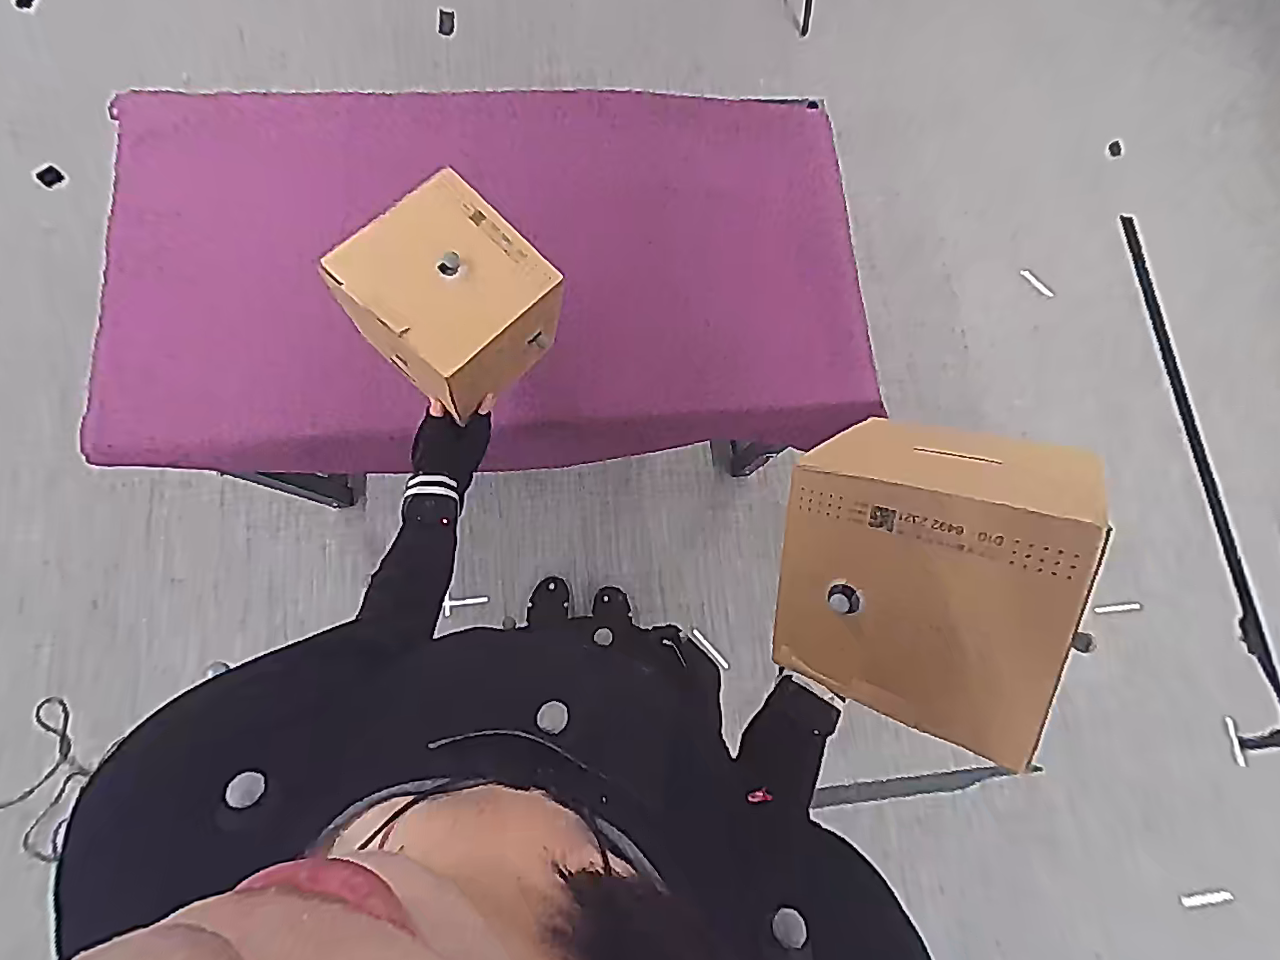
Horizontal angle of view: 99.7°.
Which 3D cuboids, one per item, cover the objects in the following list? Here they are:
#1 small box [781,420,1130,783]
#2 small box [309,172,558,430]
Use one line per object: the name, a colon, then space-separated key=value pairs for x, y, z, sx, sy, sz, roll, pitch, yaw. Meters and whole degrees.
small box: x=0.218 y=0.059 z=0.389 sx=0.168 sy=0.179 sz=0.176 roll=17 pitch=116 yaw=35
small box: x=-0.207 y=-0.187 z=0.594 sx=0.168 sy=0.179 sz=0.176 roll=44 pitch=75 yaw=-3
